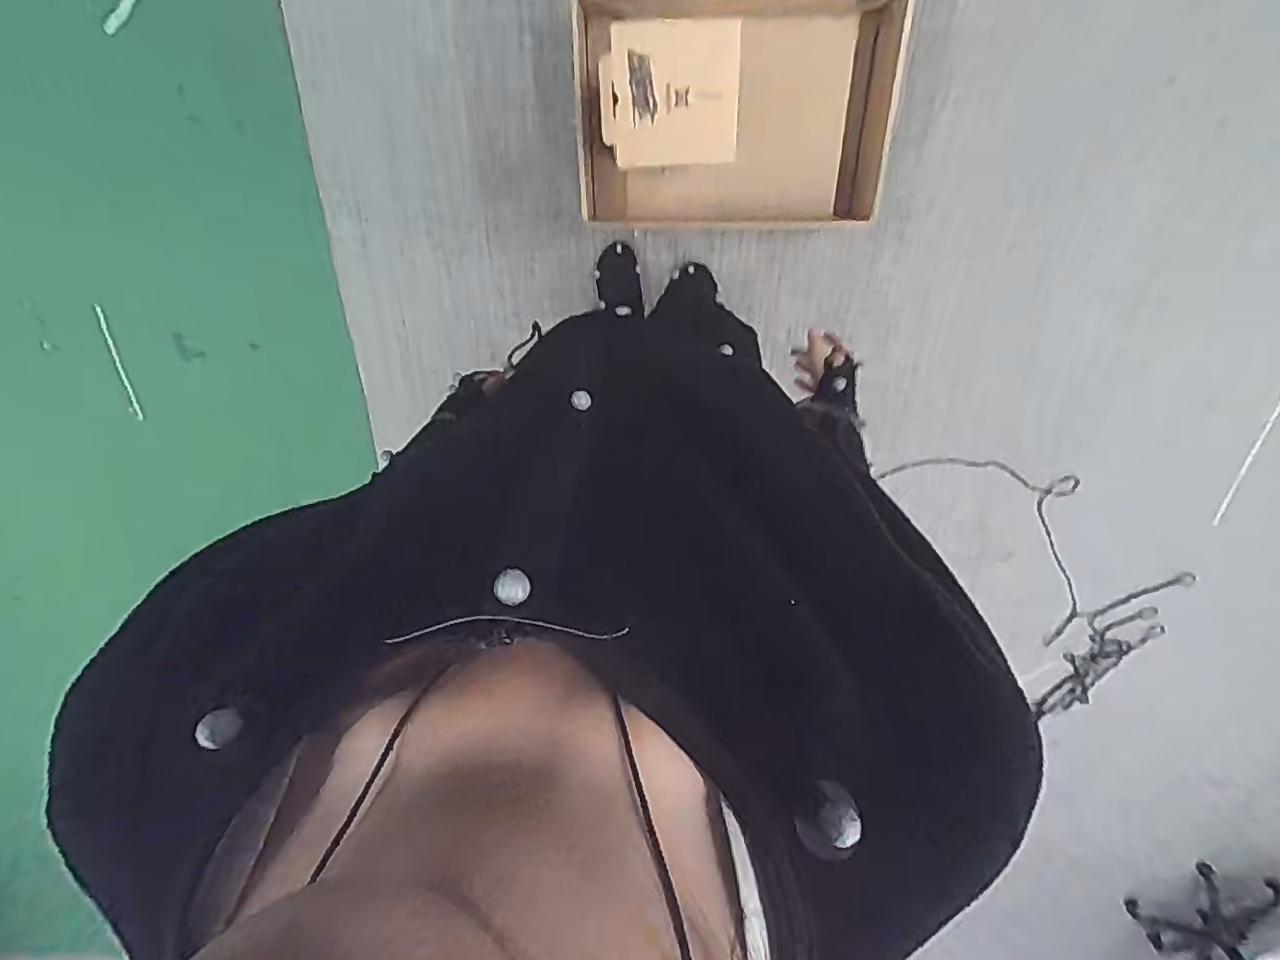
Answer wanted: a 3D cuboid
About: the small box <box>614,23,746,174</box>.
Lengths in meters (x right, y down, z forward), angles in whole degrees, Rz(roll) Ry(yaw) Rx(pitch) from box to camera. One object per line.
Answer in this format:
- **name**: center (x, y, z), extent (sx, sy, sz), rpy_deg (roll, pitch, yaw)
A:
- **small box**: center (0.057, -0.562, 0.817), extent (0.179, 0.176, 0.168), rpy_deg (-2, 119, 2)
